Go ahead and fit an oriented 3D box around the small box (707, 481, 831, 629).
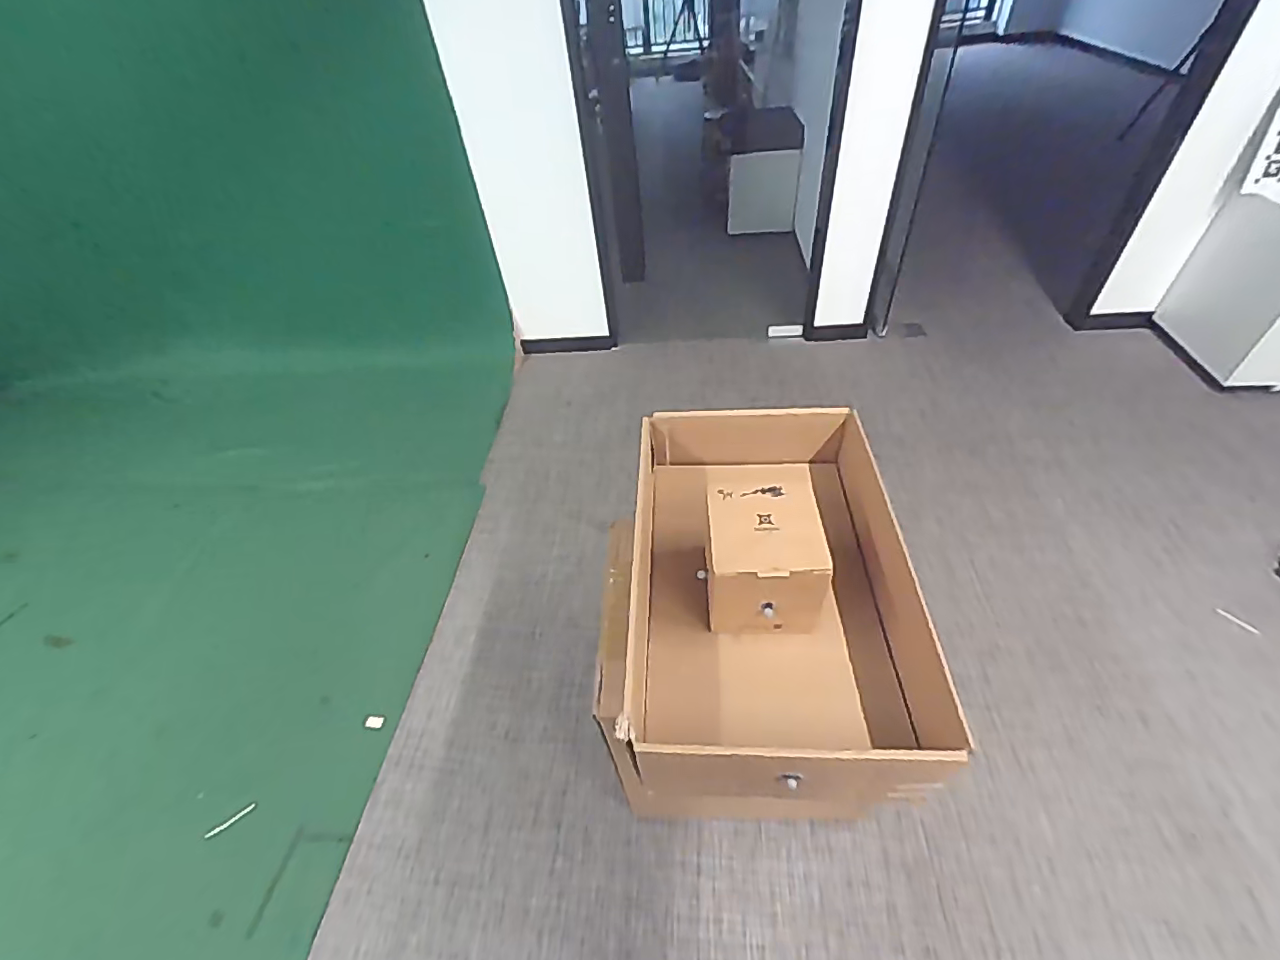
[{"bbox_3d":[0.193,0.122,0.857,0.168,0.176,0.179,-1,46,5],"label":"small box"}]
